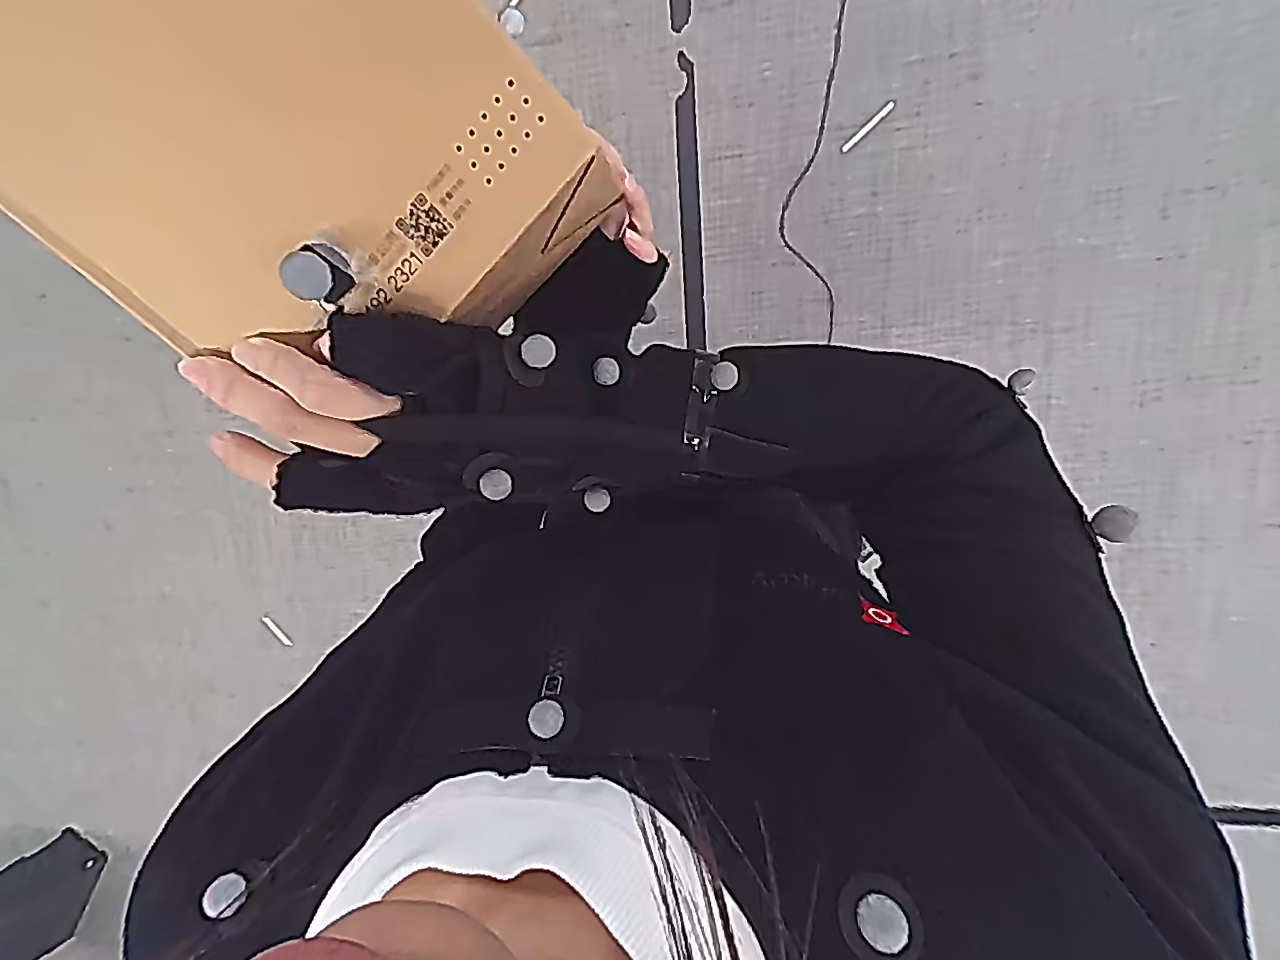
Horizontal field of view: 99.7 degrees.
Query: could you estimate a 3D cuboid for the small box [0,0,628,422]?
[{"bbox_3d":[-0.121,-0.154,0.271,0.168,0.179,0.176,-41,106,17],"label":"small box"}]
